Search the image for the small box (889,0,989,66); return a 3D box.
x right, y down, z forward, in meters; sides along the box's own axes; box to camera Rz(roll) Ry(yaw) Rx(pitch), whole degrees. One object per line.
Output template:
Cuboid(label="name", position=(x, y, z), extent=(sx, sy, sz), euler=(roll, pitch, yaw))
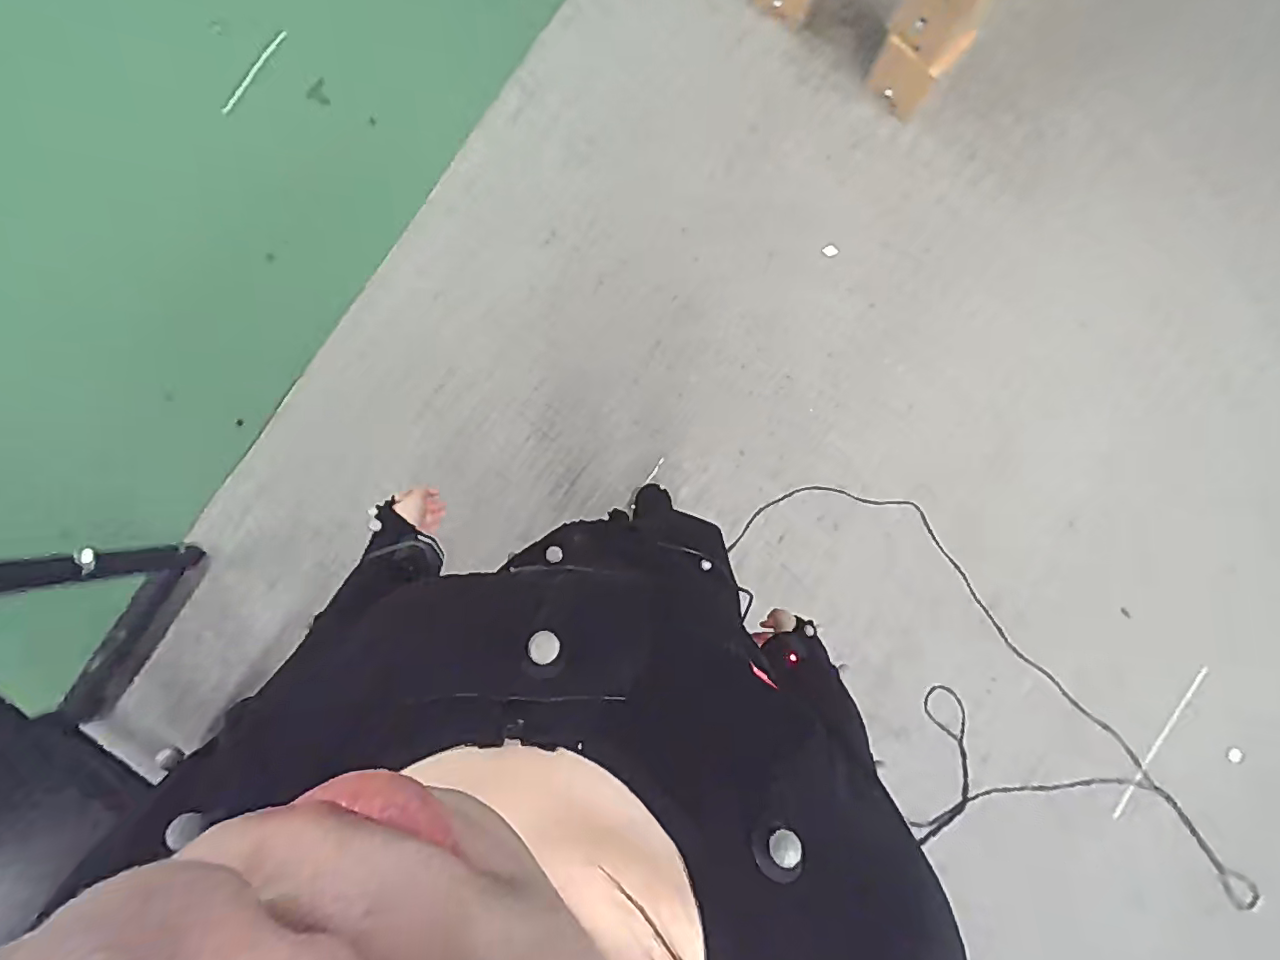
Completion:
Cuboid(label="small box", position=(0.734, -1.167, 1.305), extent=(0.179, 0.176, 0.168), euler=(-42, 87, -1))

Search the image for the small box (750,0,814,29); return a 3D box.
Cuboid(label="small box", position=(0.420, -1.415, 1.485), extent=(0.168, 0.176, 0.179), euler=(30, 88, 2))

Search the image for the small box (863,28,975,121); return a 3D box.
Cuboid(label="small box", position=(0.745, -1.138, 1.466), extent=(0.168, 0.176, 0.179), euler=(44, 89, 3))
